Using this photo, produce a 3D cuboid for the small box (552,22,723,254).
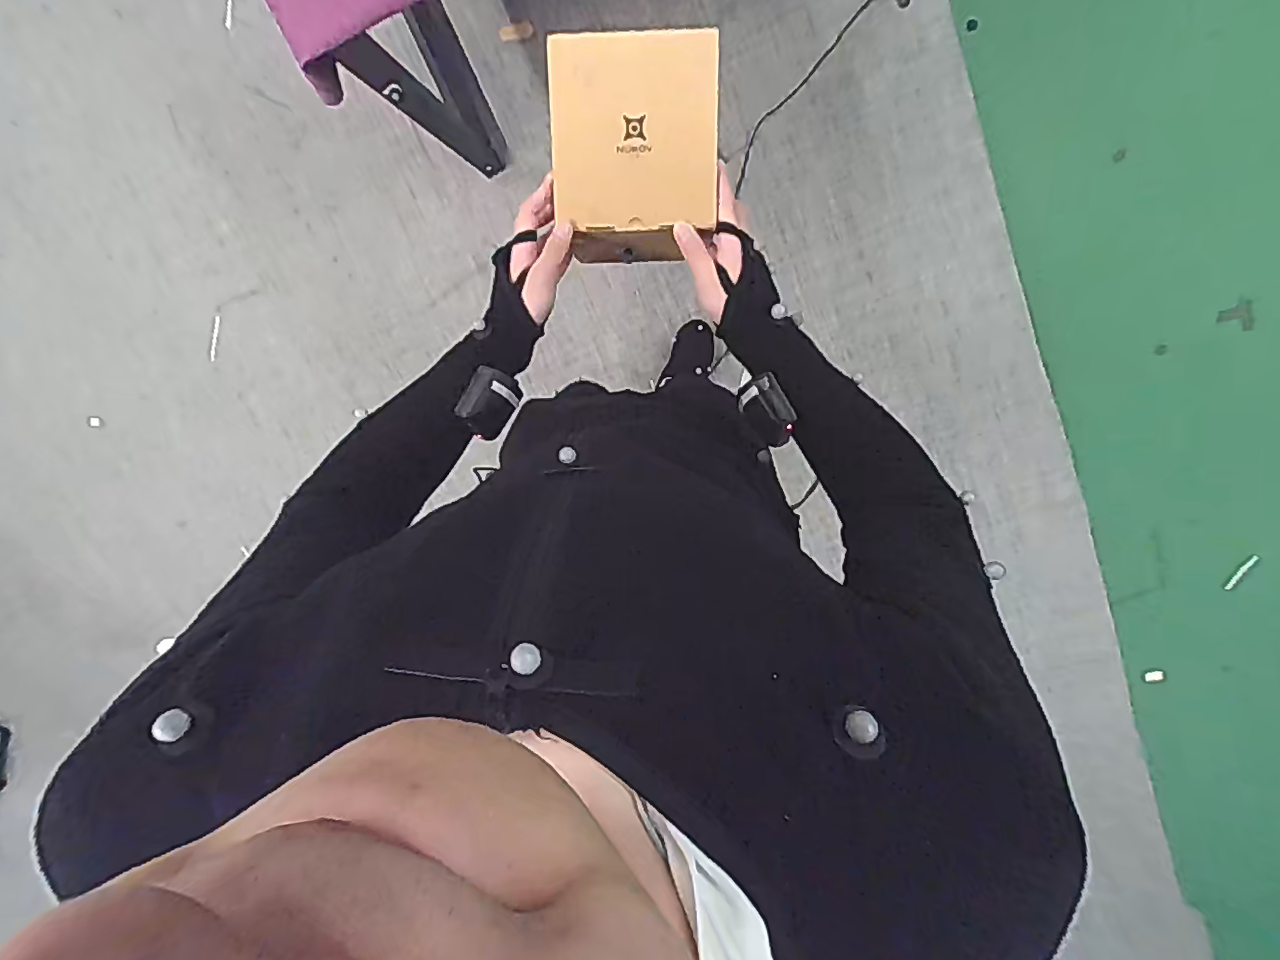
[{"bbox_3d":[-0.002,-0.361,0.603,0.168,0.176,0.179,-1,103,1],"label":"small box"}]
